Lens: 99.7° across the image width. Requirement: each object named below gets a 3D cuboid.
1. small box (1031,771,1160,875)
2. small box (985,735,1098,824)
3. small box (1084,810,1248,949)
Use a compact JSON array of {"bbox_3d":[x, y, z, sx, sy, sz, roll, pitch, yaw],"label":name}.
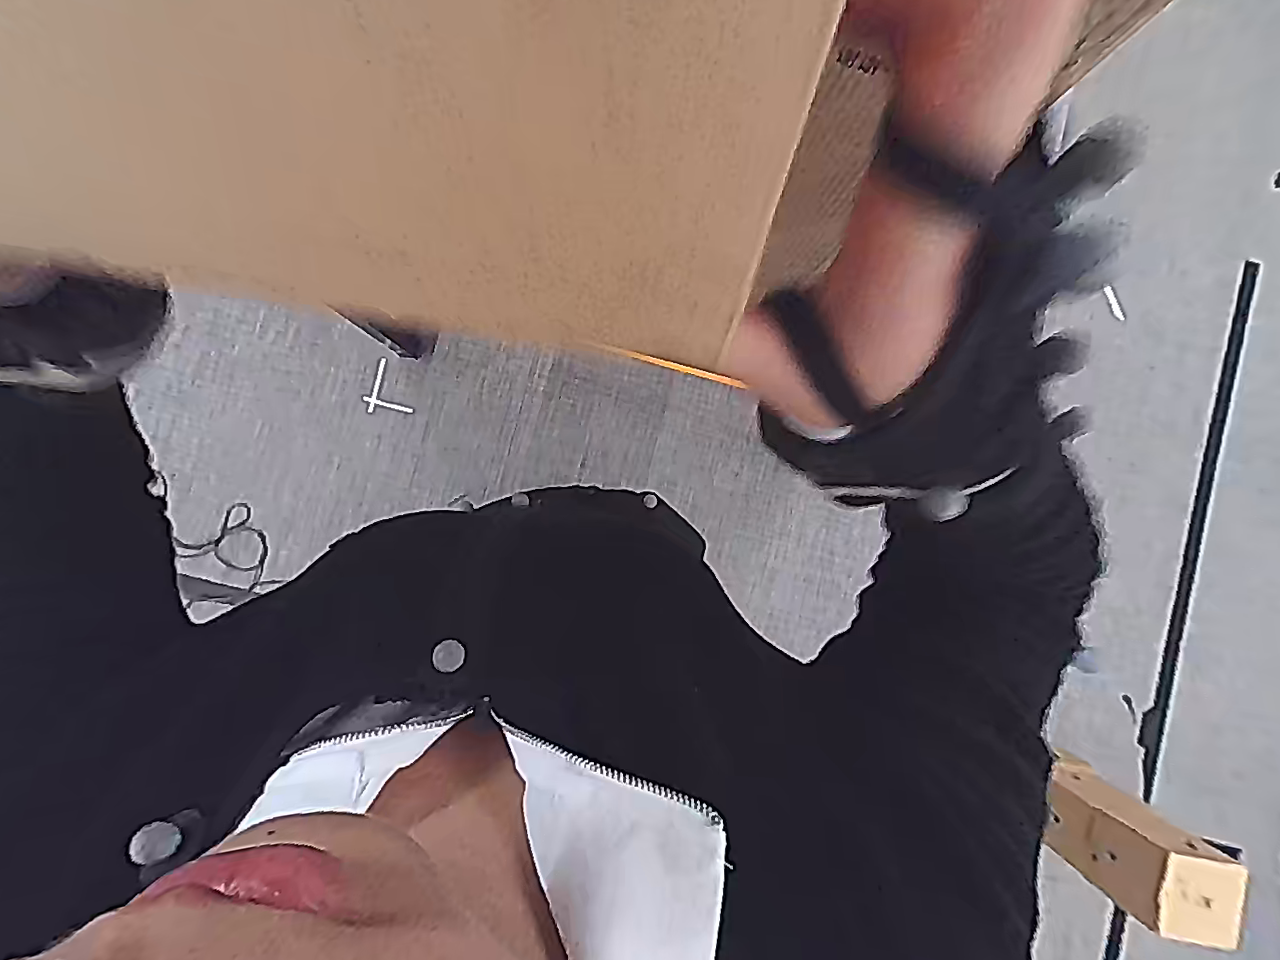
[{"bbox_3d":[1.102,0.838,1.321,0.179,0.176,0.168,8,88,-3],"label":"small box"},{"bbox_3d":[1.096,0.824,1.485,0.179,0.176,0.168,9,87,-2],"label":"small box"},{"bbox_3d":[1.115,0.842,1.156,0.179,0.176,0.168,13,87,-3],"label":"small box"}]
